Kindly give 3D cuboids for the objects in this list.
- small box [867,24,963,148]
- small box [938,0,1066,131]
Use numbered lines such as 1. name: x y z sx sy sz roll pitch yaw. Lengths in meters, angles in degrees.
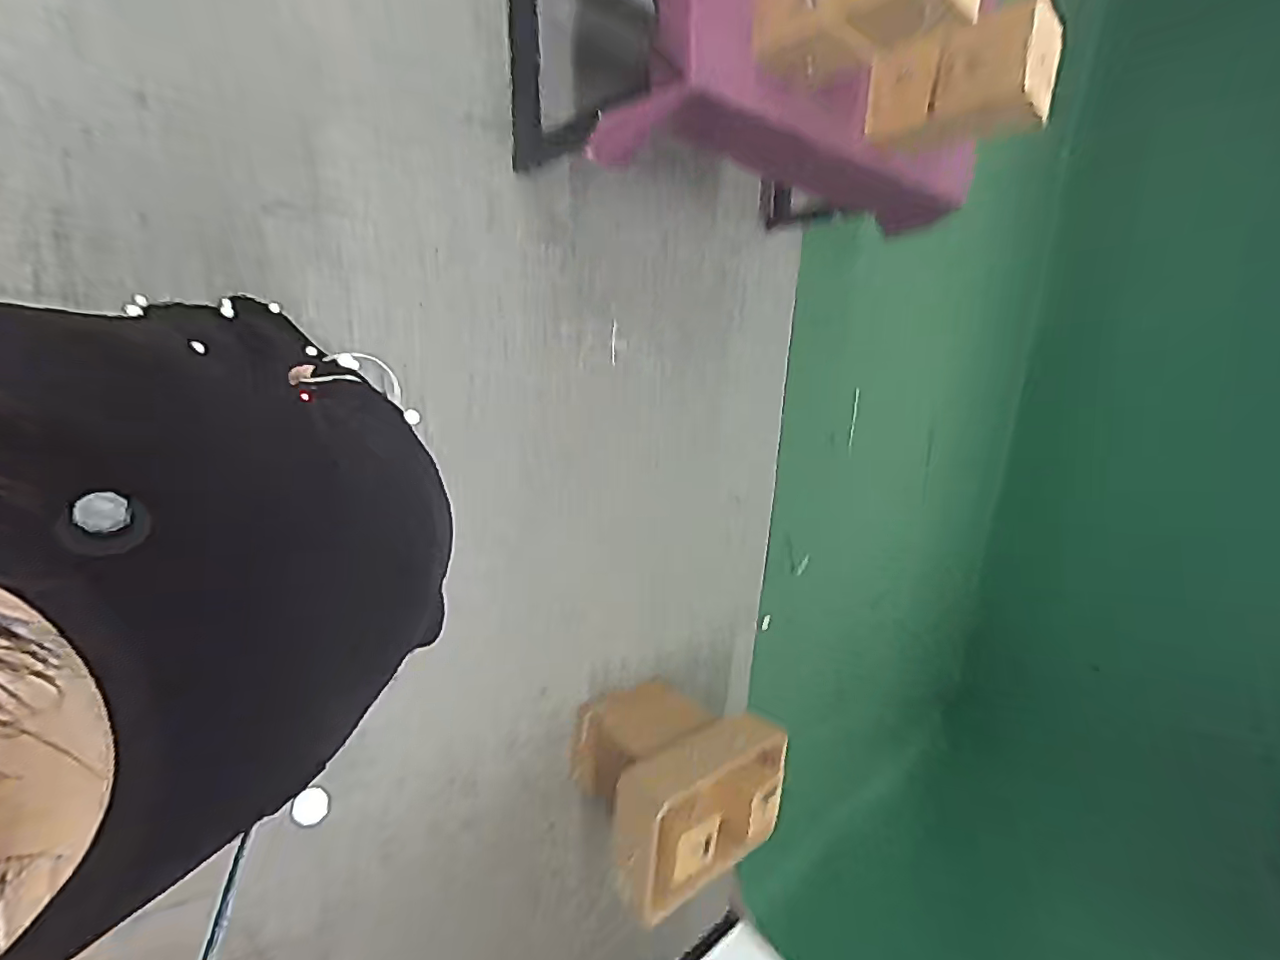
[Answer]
1. small box: 0.652 -0.901 1.258 0.179 0.176 0.168 -10 107 -39
2. small box: 0.751 -0.865 1.131 0.179 0.176 0.168 -3 103 -39
